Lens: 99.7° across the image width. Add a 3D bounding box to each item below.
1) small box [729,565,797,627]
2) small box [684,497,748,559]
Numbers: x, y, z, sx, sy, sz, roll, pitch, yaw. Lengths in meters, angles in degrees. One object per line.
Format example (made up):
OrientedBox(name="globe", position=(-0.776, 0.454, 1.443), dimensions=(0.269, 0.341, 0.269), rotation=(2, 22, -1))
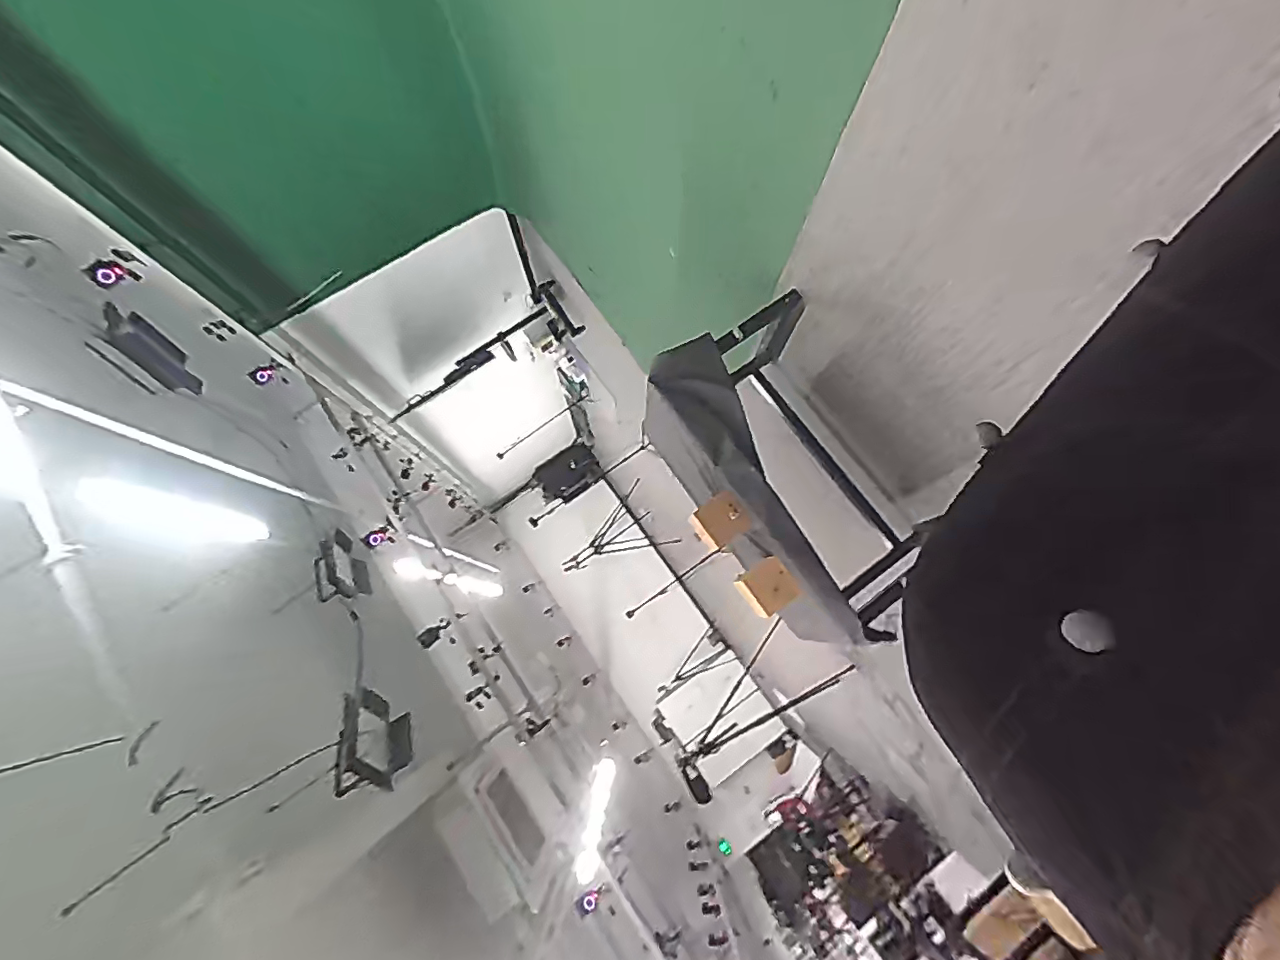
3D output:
OrientedBox(name="small box", position=(0.464, 0.433, 2.034), dimensions=(0.168, 0.176, 0.179), rotation=(55, 171, 9))
OrientedBox(name="small box", position=(0.290, 0.186, 2.079), dimensions=(0.168, 0.176, 0.179), rotation=(53, 169, 10))
